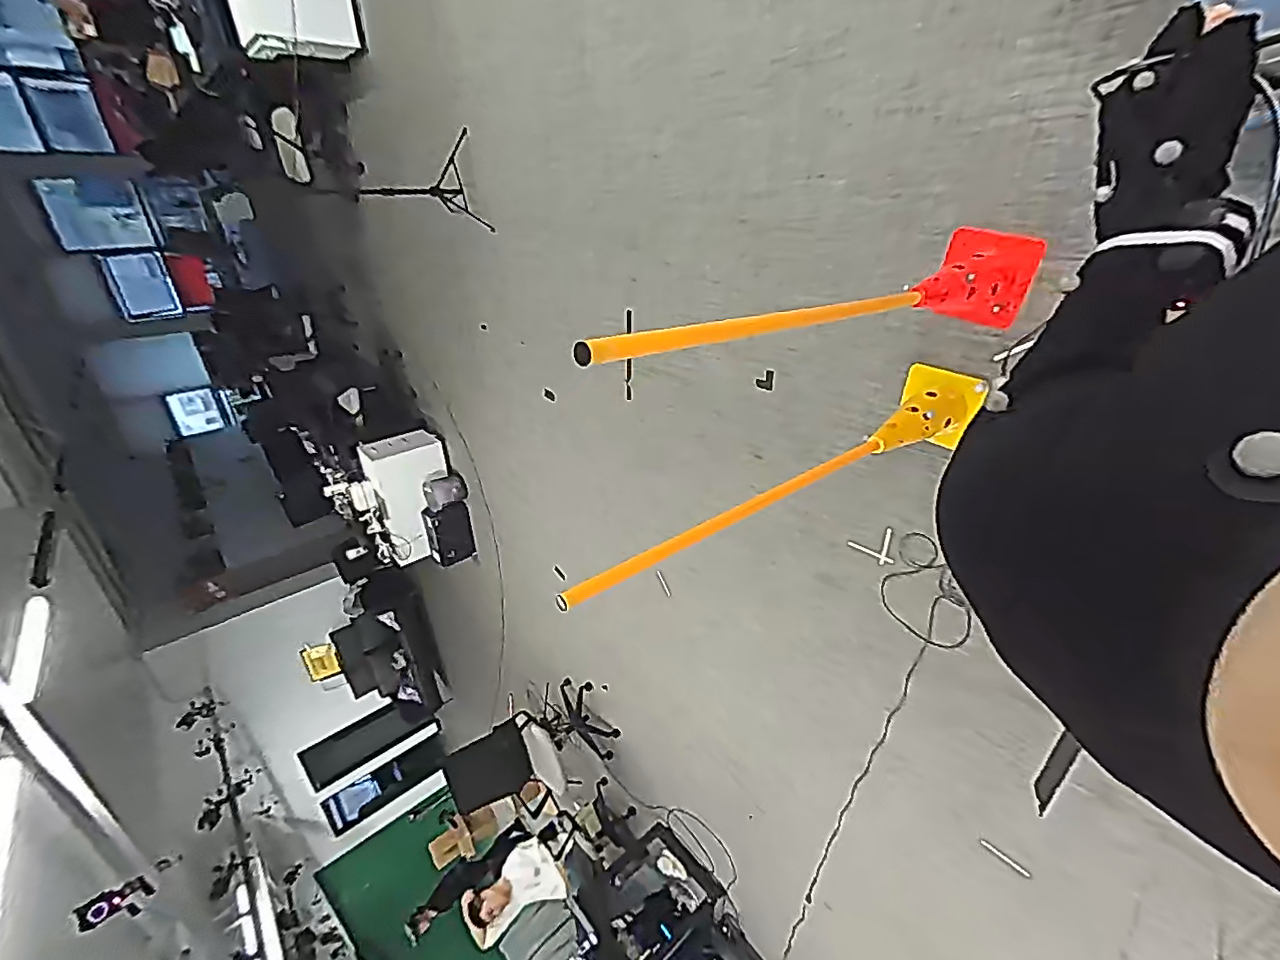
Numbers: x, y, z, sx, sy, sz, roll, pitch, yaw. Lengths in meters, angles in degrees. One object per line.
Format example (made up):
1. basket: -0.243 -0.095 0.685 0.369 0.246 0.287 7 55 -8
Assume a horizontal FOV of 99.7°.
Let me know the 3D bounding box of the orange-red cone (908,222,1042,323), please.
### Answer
1. orange-red cone: 0.671 -0.432 1.165 0.198 0.360 0.199 34 132 36
